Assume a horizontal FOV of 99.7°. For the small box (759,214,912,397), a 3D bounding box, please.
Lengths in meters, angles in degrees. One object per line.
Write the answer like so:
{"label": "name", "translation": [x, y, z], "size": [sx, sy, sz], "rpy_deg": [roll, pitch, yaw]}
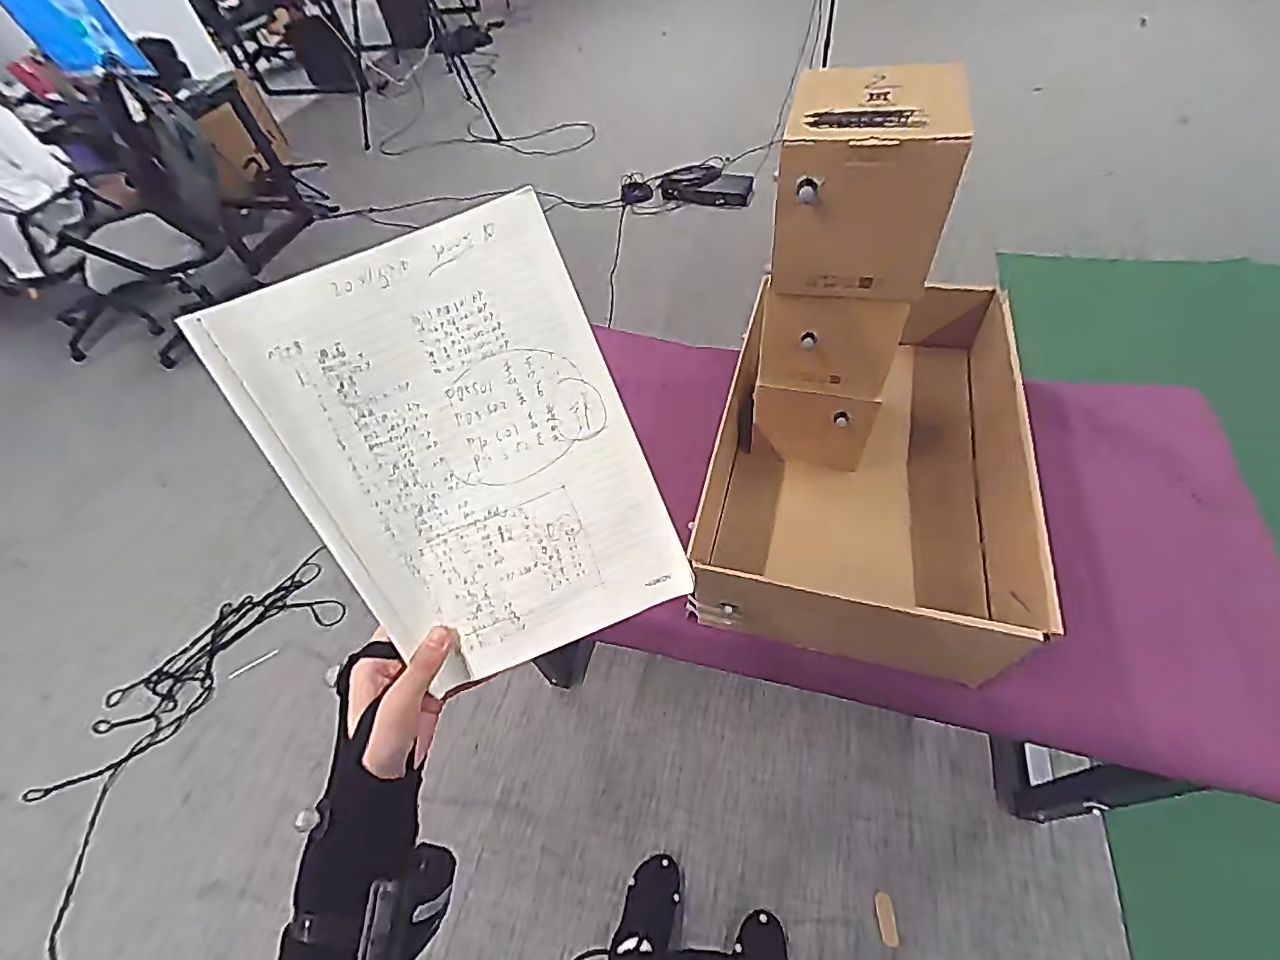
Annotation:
{"label": "small box", "translation": [0.260, -0.236, 0.741], "size": [0.168, 0.176, 0.179], "rpy_deg": [11, 56, 16]}
